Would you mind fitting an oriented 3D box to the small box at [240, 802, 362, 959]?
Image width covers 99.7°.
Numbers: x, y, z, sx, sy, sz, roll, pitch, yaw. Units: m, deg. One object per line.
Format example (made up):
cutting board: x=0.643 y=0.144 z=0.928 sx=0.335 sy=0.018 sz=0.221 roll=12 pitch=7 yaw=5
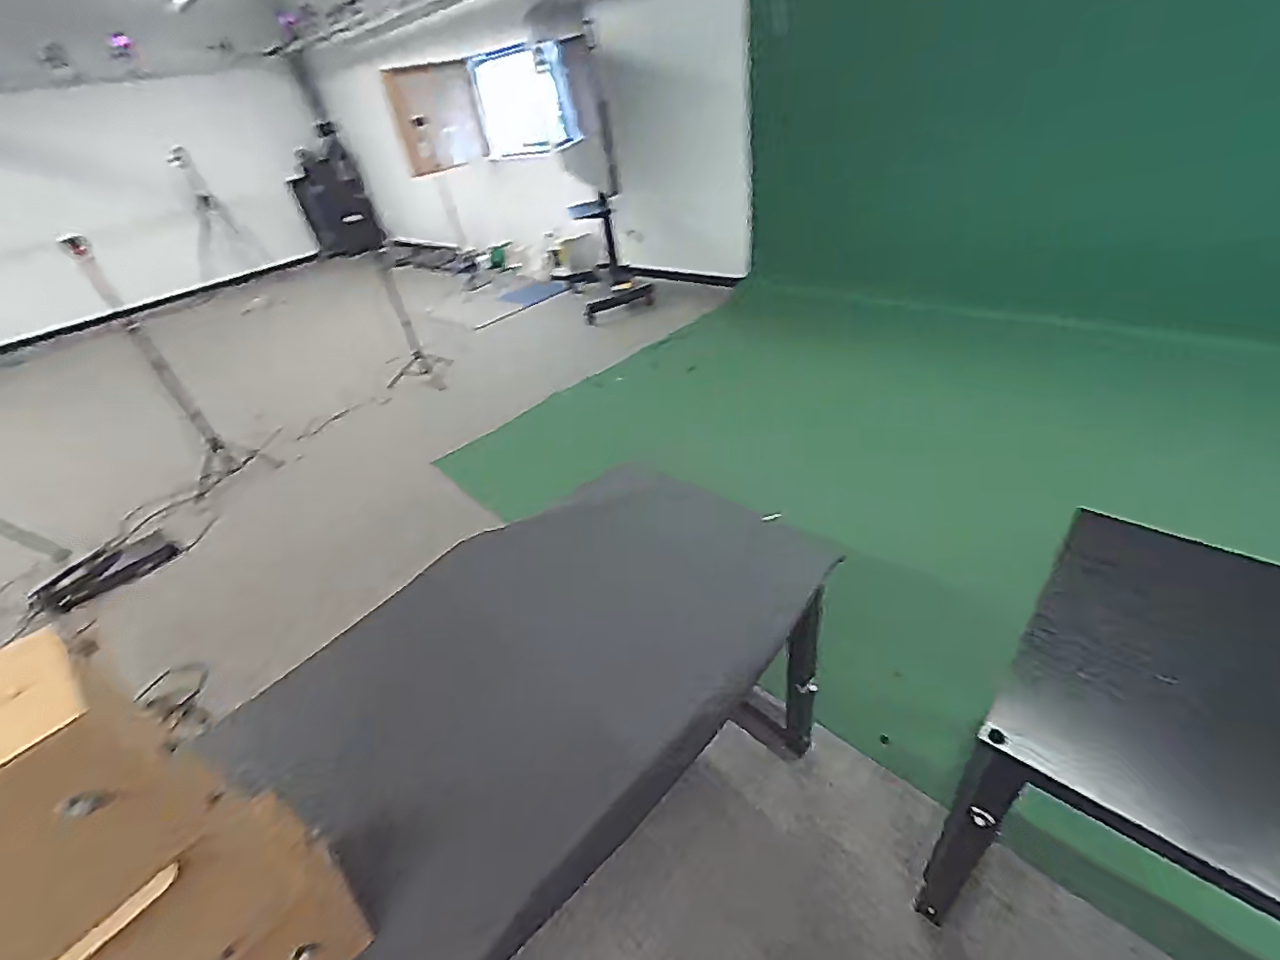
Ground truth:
small box: x=-0.452 y=0.529 z=0.621 sx=0.168 sy=0.176 sz=0.179 roll=21 pitch=47 yaw=39
